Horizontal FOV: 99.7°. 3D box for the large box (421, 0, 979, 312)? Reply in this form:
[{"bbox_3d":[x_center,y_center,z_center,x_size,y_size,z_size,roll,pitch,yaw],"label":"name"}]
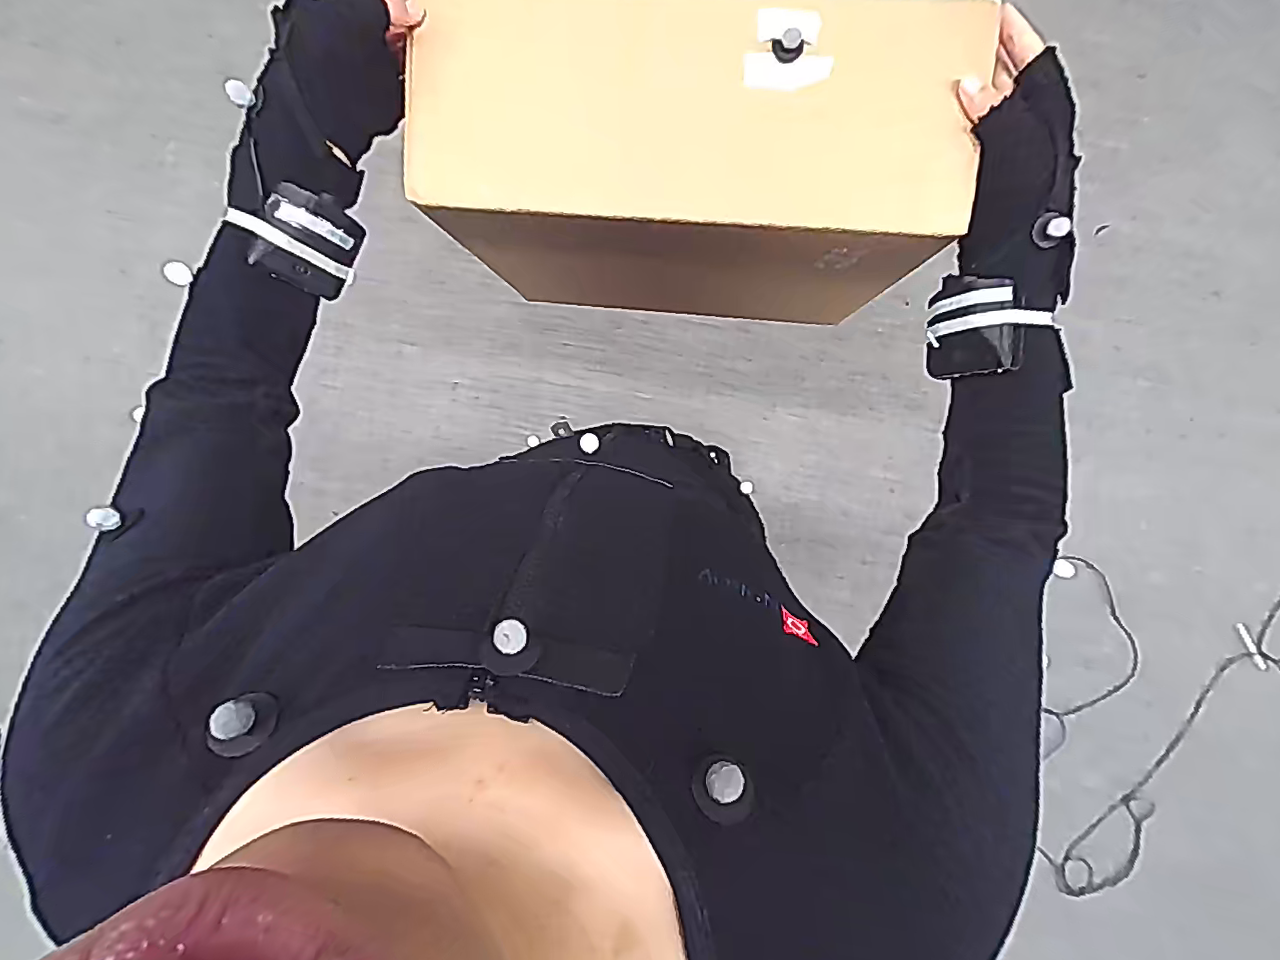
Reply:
[{"bbox_3d":[0.048,-0.363,0.535,0.408,0.320,0.320,5,96,3],"label":"large box"}]
